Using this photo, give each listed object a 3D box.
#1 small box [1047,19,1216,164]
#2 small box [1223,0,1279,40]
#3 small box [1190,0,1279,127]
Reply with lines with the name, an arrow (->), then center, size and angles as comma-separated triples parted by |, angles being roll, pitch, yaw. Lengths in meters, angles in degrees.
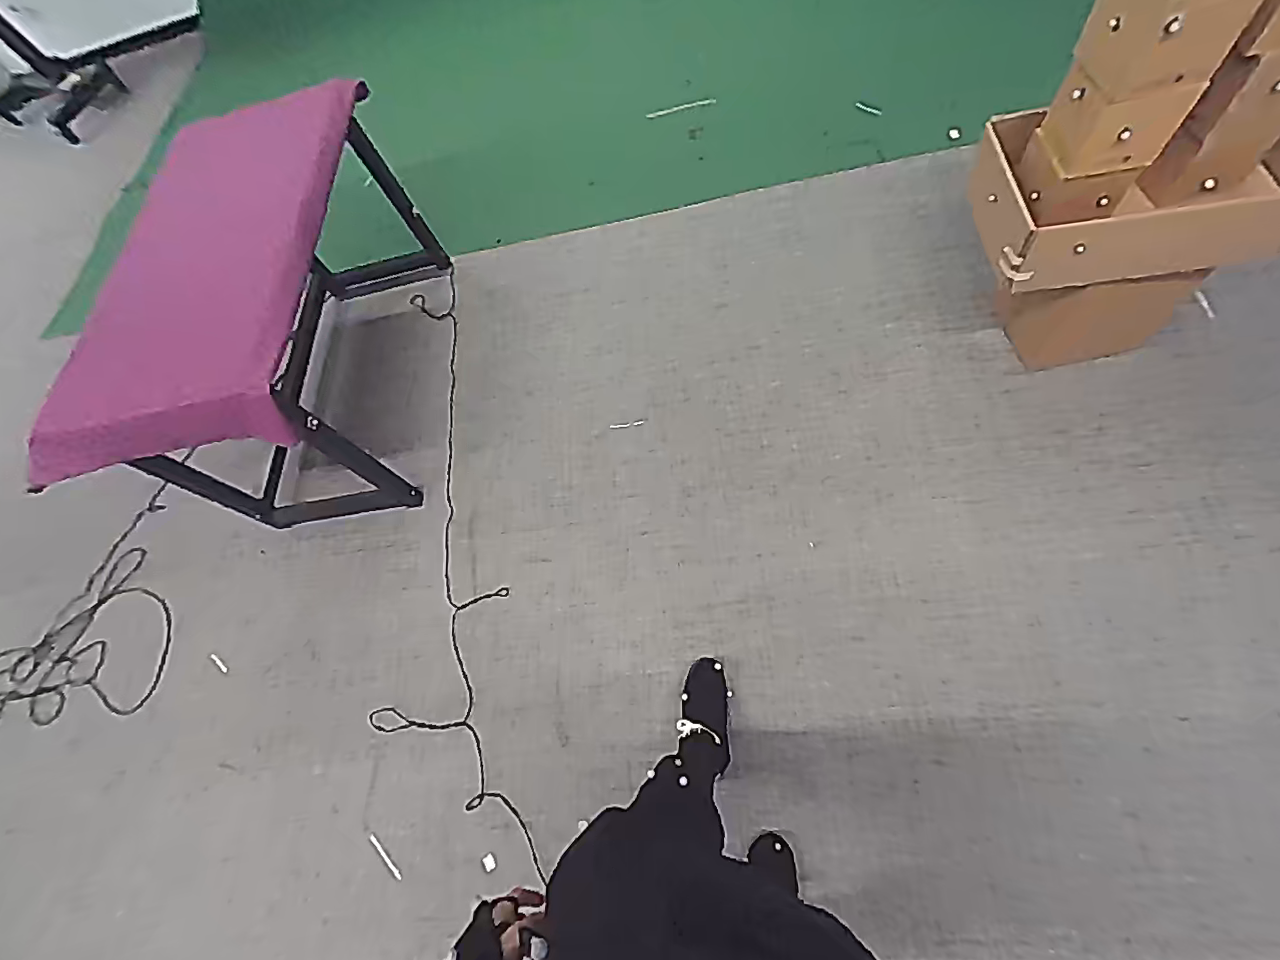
small box -> 0.978, -0.774, 1.097 | 0.168, 0.176, 0.179 | -7, 64, 9
small box -> 1.177, -0.903, 0.919 | 0.179, 0.176, 0.168 | -5, 64, 14
small box -> 1.232, -0.840, 1.063 | 0.179, 0.176, 0.168 | -12, 64, 10
